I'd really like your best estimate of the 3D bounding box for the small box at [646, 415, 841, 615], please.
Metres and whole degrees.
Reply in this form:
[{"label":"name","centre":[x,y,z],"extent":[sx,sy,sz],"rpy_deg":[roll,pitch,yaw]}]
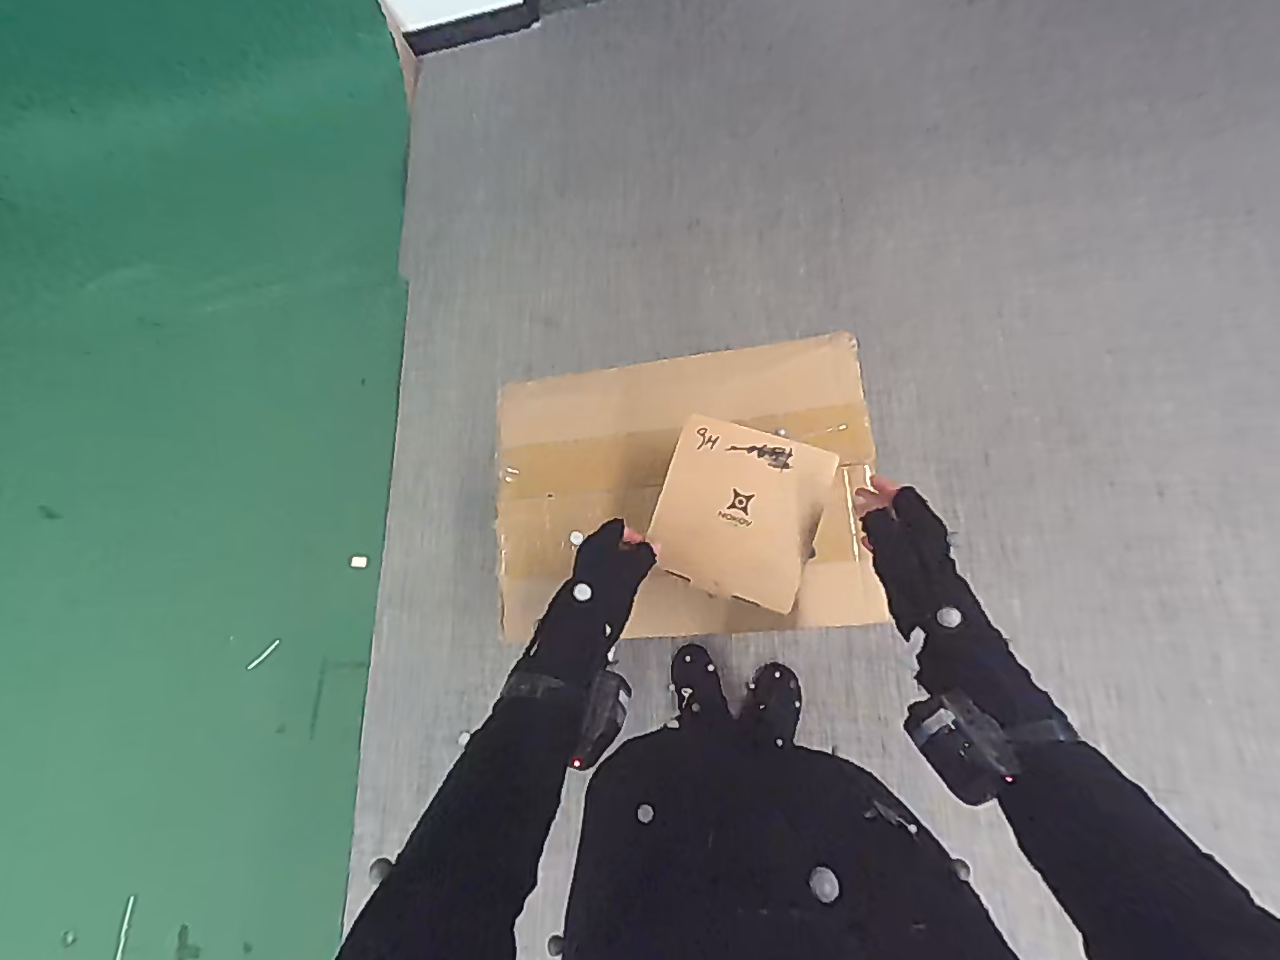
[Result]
[{"label":"small box","centre":[0.123,0.042,0.647],"extent":[0.168,0.176,0.179],"rpy_deg":[17,87,12]}]
